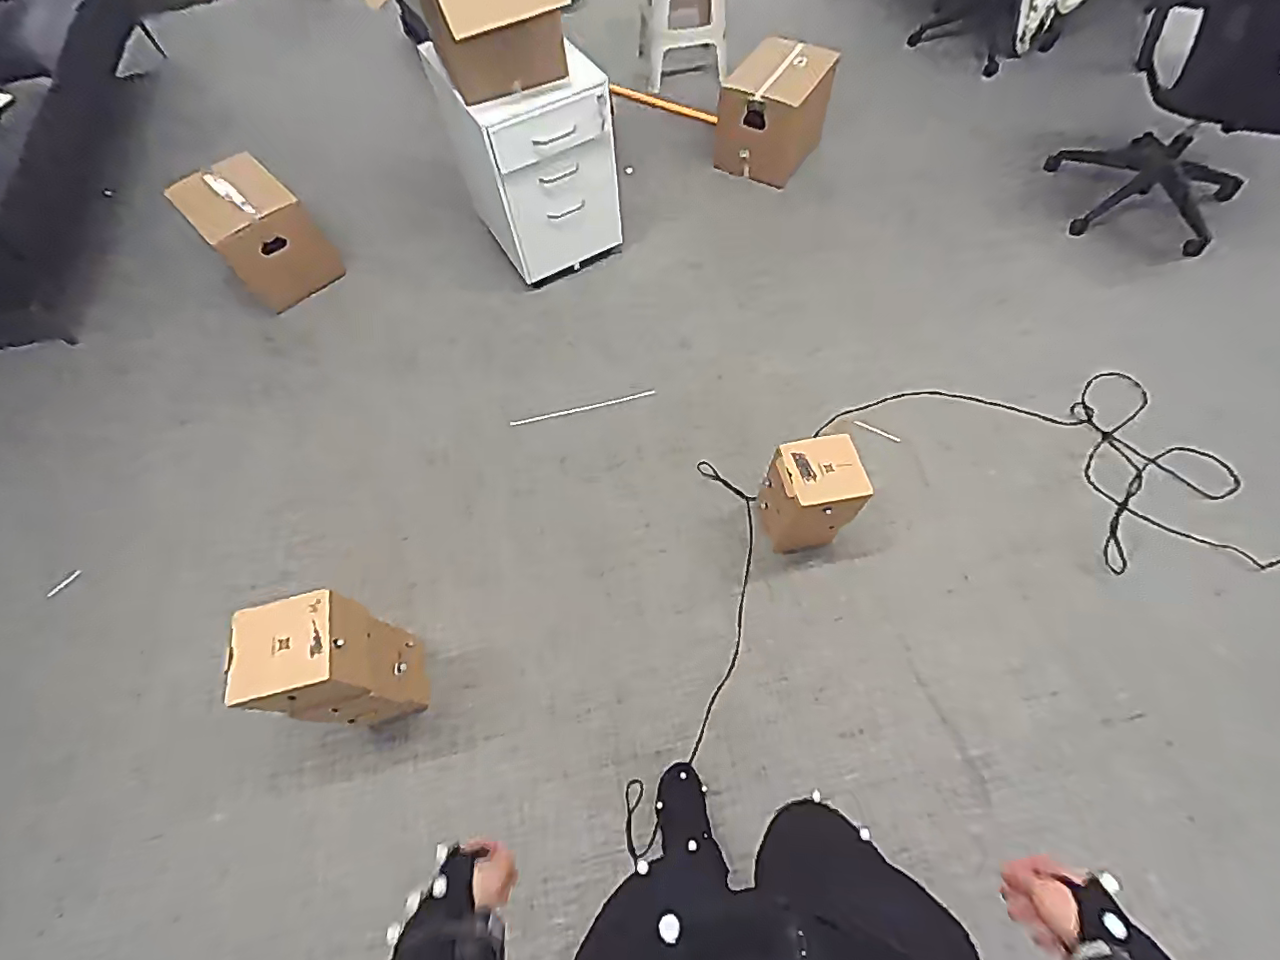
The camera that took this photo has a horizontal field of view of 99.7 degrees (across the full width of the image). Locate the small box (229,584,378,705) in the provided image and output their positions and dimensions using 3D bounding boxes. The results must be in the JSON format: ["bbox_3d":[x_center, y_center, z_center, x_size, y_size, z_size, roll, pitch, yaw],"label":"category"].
[{"bbox_3d":[-0.624,0.318,1.025,0.179,0.176,0.168,-14,63,-4],"label":"small box"}]

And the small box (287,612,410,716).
[{"bbox_3d":[-0.621,0.401,1.167,0.179,0.176,0.168,-13,63,-5],"label":"small box"}]

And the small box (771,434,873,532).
[{"bbox_3d":[0.425,0.013,1.303,0.179,0.176,0.168,-9,63,-4],"label":"small box"}]

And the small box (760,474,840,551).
[{"bbox_3d":[0.429,0.080,1.454,0.179,0.176,0.168,-10,63,-3],"label":"small box"}]
